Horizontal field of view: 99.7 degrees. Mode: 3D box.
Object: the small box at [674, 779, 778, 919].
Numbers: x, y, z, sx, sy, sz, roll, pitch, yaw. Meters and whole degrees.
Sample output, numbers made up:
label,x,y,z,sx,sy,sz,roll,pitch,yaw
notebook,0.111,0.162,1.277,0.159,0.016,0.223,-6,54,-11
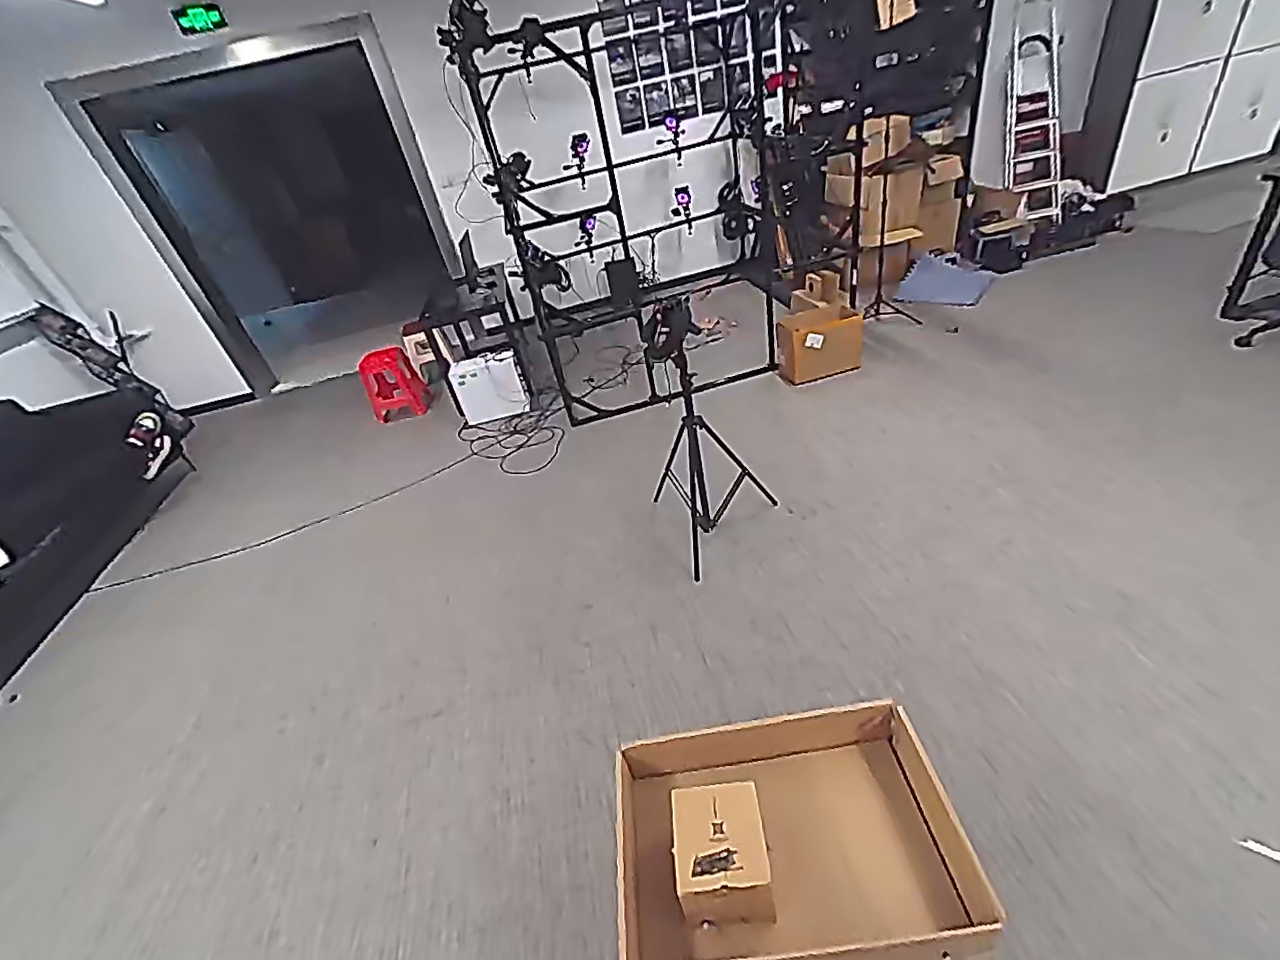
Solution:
label,x,y,z,sx,sy,sz,roll,pitch,yaw
small box,0.161,0.703,1.026,0.168,0.176,0.179,-9,33,6
